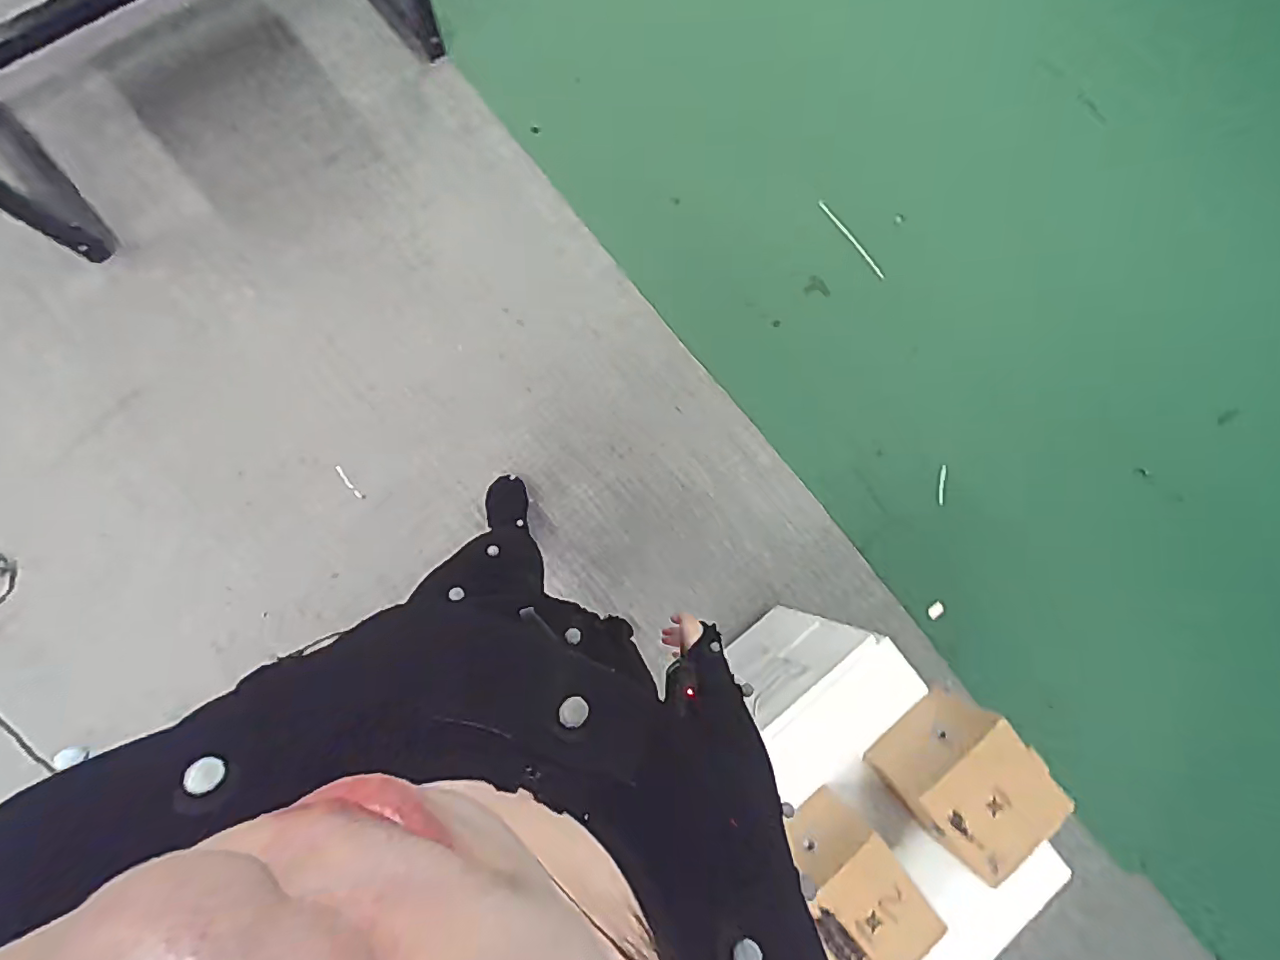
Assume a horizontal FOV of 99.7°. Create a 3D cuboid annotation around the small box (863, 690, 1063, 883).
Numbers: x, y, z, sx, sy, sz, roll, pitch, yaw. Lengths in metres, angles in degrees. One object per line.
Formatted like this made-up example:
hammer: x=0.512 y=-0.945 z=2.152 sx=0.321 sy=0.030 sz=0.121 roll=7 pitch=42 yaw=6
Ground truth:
small box: x=0.498 y=0.468 z=0.860 sx=0.179 sy=0.176 sz=0.168 roll=-38 pitch=88 yaw=-9
